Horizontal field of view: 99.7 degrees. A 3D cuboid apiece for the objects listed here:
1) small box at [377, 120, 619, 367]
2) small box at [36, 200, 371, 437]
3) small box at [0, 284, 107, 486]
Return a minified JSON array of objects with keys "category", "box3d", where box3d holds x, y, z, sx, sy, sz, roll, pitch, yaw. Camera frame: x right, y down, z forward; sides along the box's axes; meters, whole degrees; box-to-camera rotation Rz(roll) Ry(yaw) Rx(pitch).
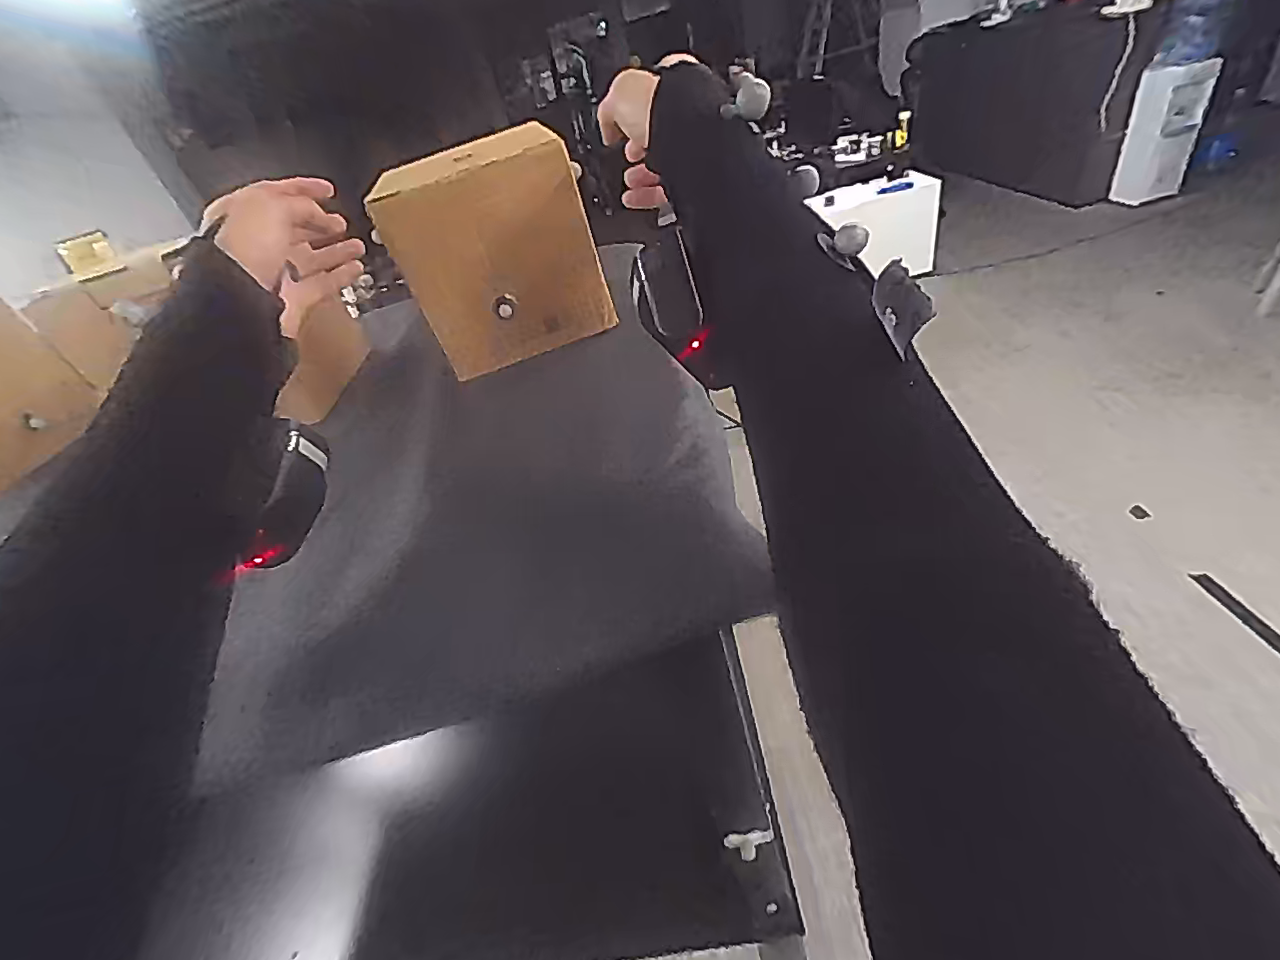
[{"category":"small box","box3d":[-0.133,-0.239,0.545,0.168,0.176,0.179,-21,39,-3]},{"category":"small box","box3d":[-0.409,-0.160,0.553,0.168,0.176,0.179,-14,37,3]},{"category":"small box","box3d":[-0.777,-0.096,0.610,0.168,0.176,0.179,-10,38,9]}]
